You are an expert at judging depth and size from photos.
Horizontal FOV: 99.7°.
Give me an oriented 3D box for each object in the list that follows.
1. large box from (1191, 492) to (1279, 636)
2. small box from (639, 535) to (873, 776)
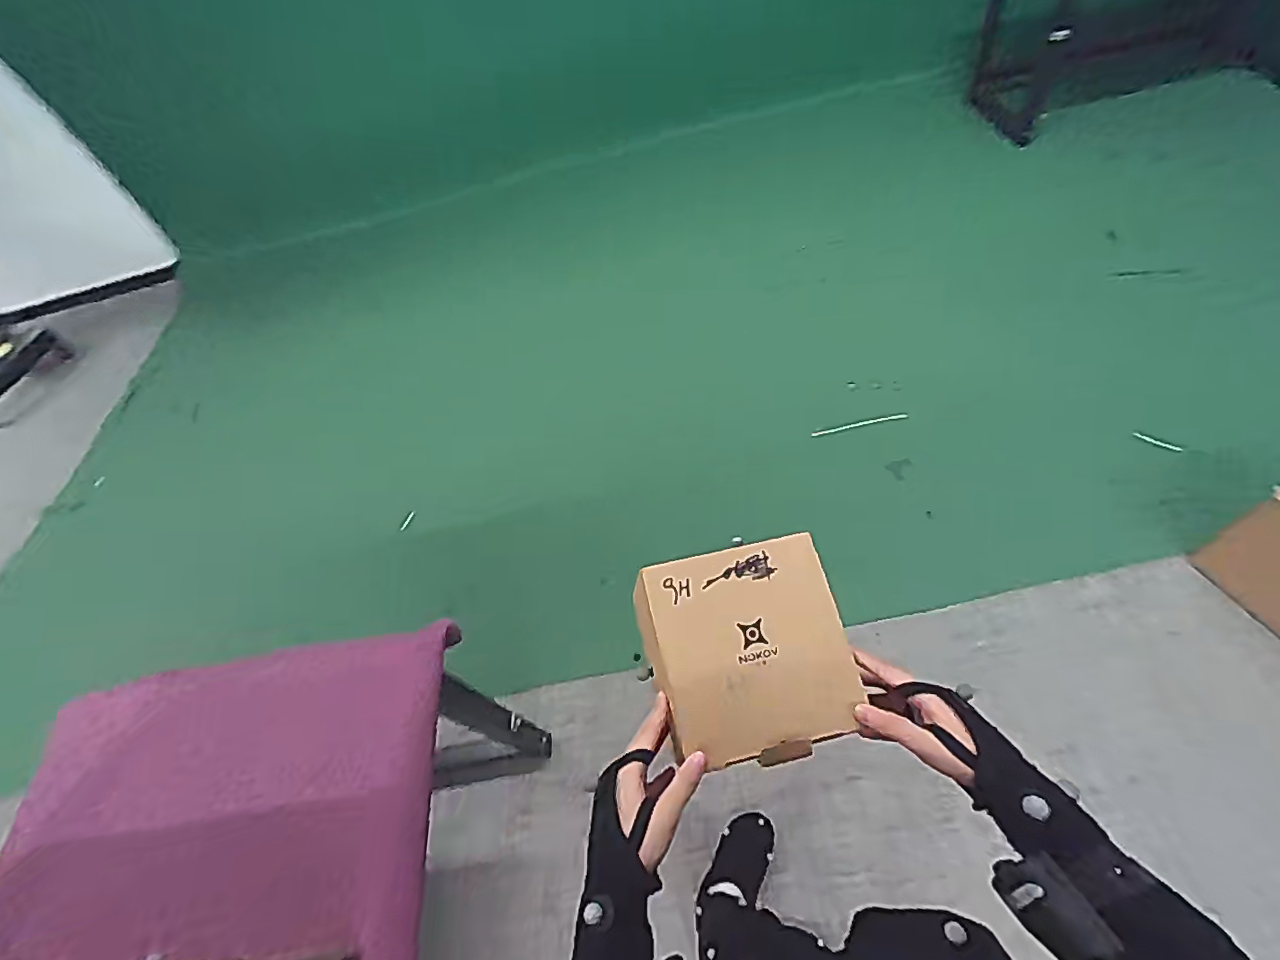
[{"bbox_3d":[1.577,0.202,1.153,0.320,0.320,0.408,-24,51,-5],"label":"large box"},{"bbox_3d":[0.097,0.171,0.545,0.168,0.176,0.179,-11,70,-7],"label":"small box"}]
